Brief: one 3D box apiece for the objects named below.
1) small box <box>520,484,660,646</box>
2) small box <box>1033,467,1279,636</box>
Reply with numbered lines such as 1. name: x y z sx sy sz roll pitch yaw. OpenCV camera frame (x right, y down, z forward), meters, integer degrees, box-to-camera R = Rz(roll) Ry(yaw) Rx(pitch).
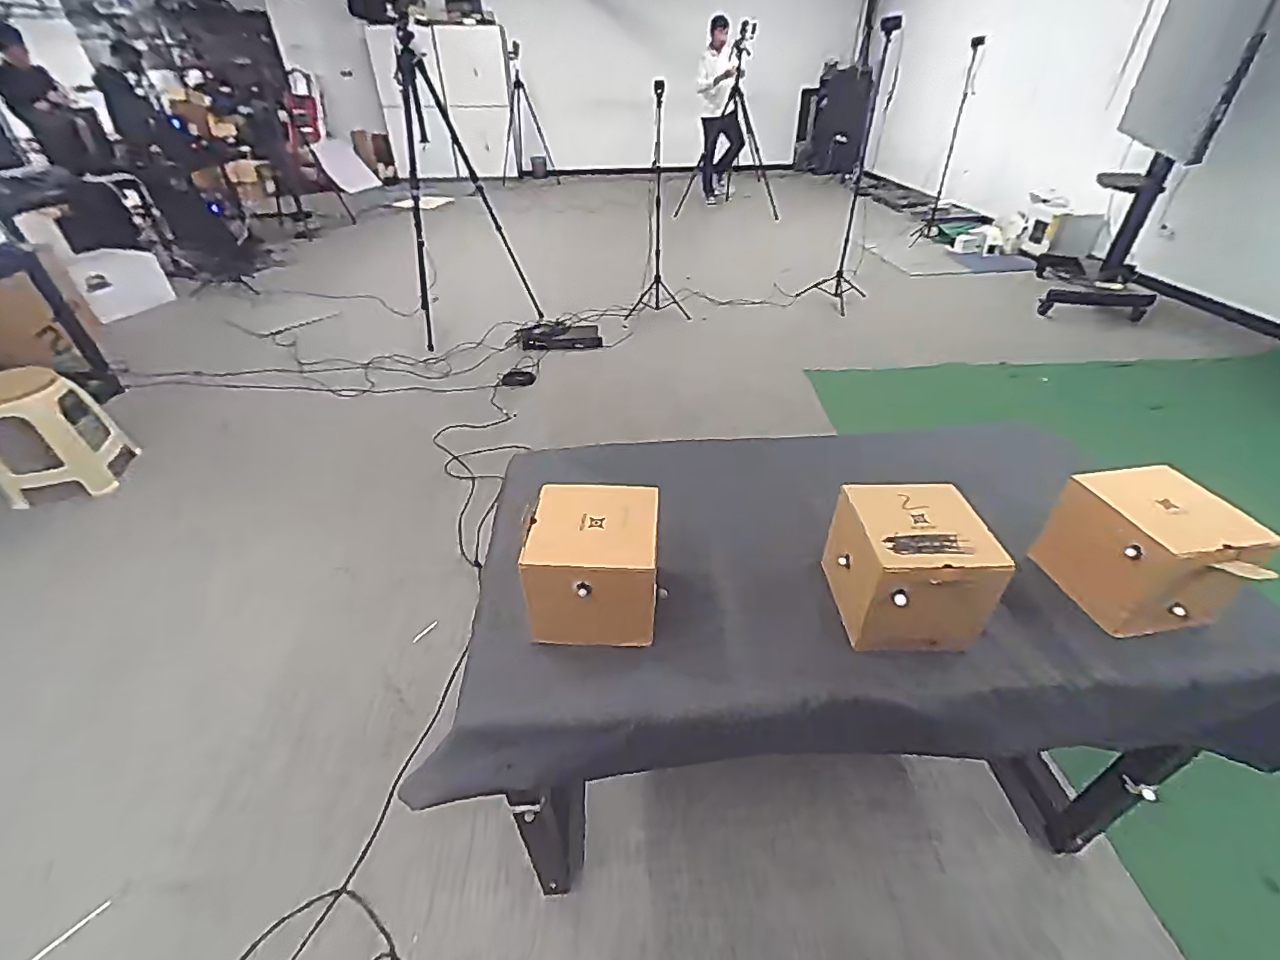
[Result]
1. small box: -0.062 0.124 0.789 0.179 0.176 0.168 2 38 2
2. small box: 0.741 0.103 0.802 0.168 0.176 0.179 -6 38 -6
